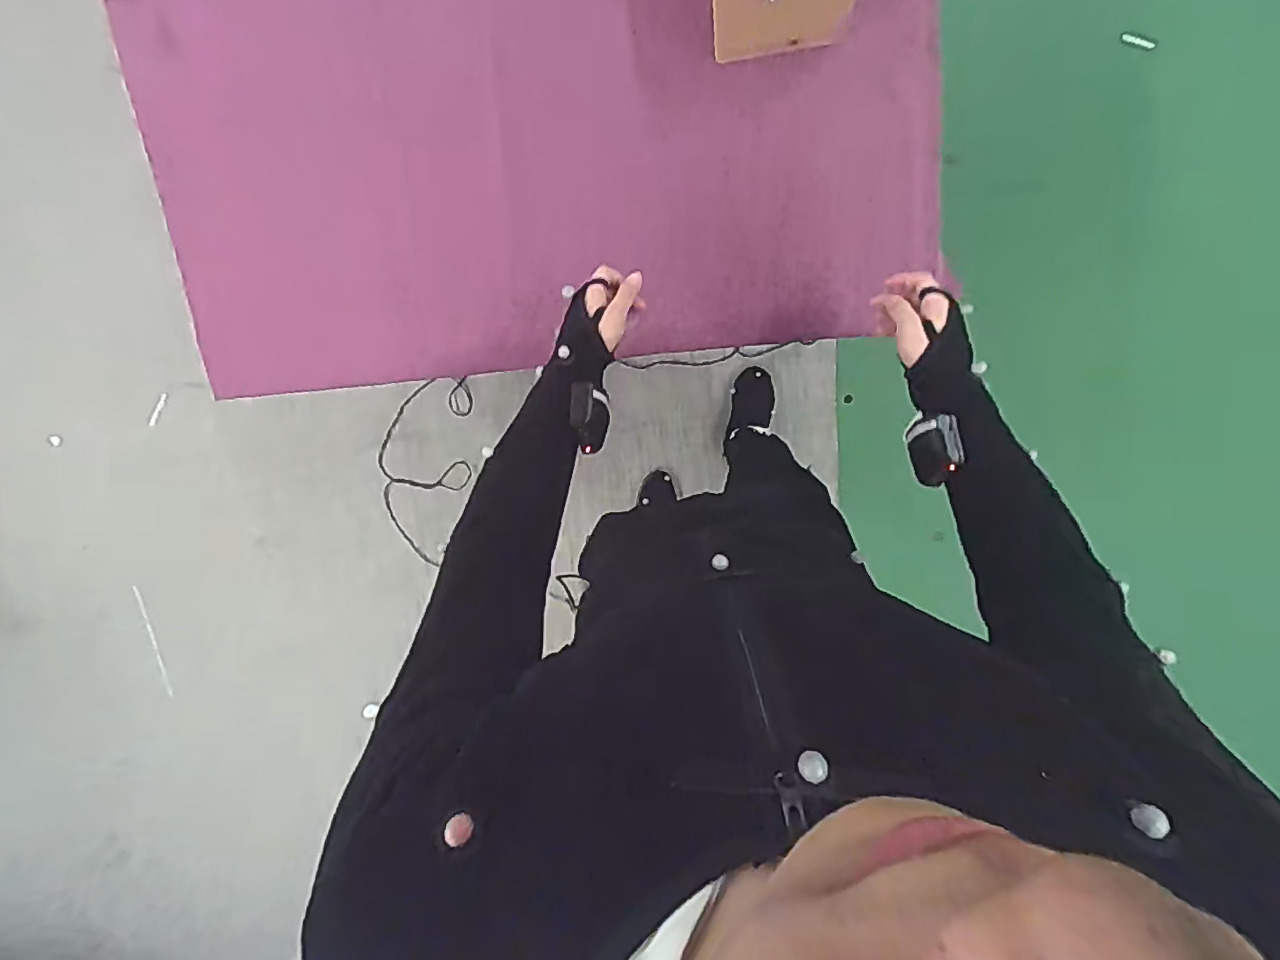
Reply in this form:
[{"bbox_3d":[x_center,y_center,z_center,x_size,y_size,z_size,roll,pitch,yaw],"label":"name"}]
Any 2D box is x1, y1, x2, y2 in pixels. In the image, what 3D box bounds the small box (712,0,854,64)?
[{"bbox_3d":[0.167,-0.643,0.639,0.168,0.176,0.179,-2,102,10],"label":"small box"}]
